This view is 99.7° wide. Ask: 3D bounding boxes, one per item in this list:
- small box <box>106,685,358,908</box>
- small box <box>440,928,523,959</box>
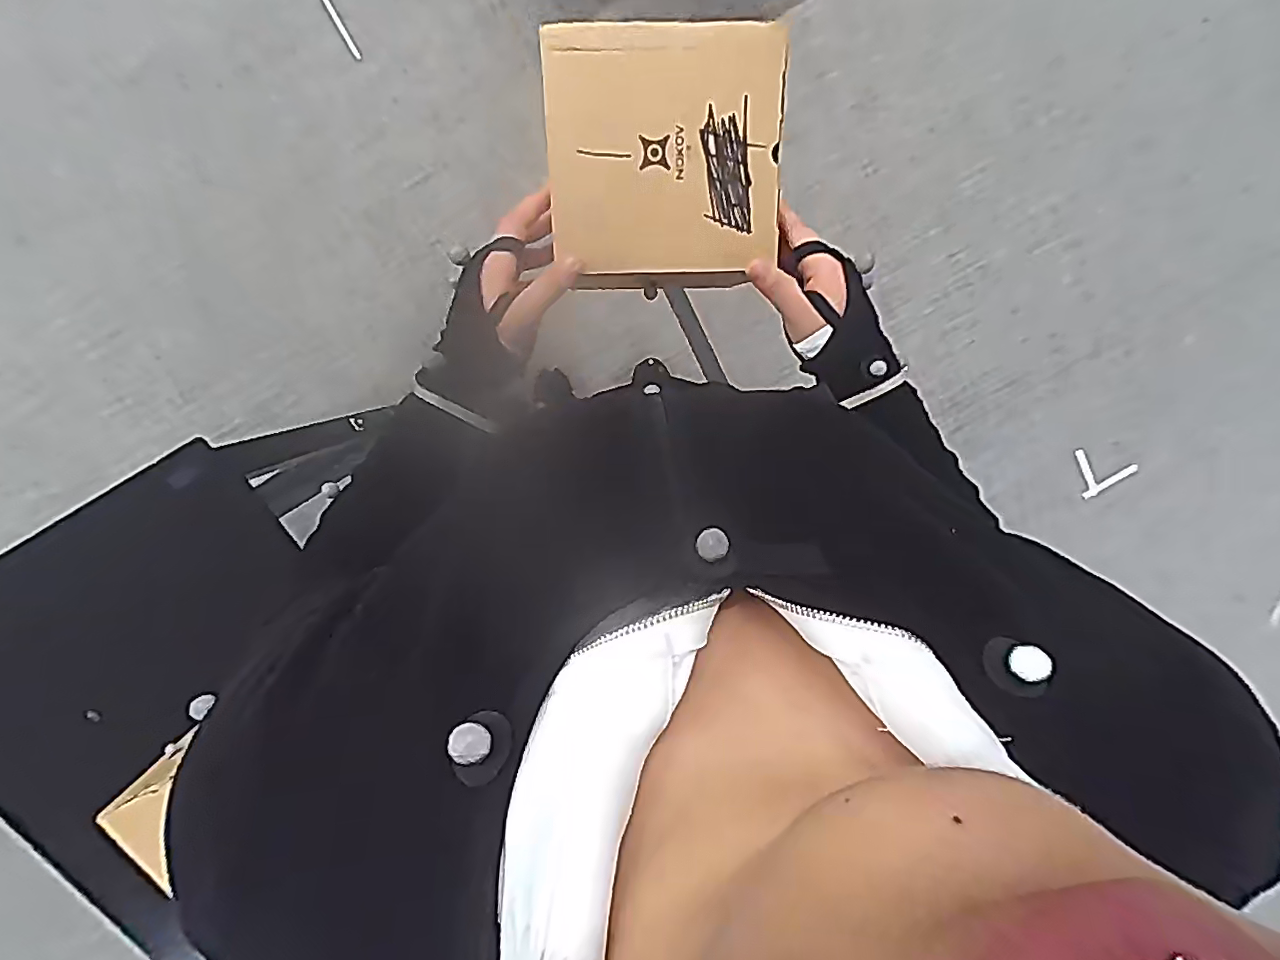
[{"bbox_3d":[-0.530,0.410,0.733,0.168,0.176,0.179,-29,104,4],"label":"small box"},{"bbox_3d":[-0.265,0.873,0.854,0.168,0.176,0.179,-32,103,4],"label":"small box"}]
